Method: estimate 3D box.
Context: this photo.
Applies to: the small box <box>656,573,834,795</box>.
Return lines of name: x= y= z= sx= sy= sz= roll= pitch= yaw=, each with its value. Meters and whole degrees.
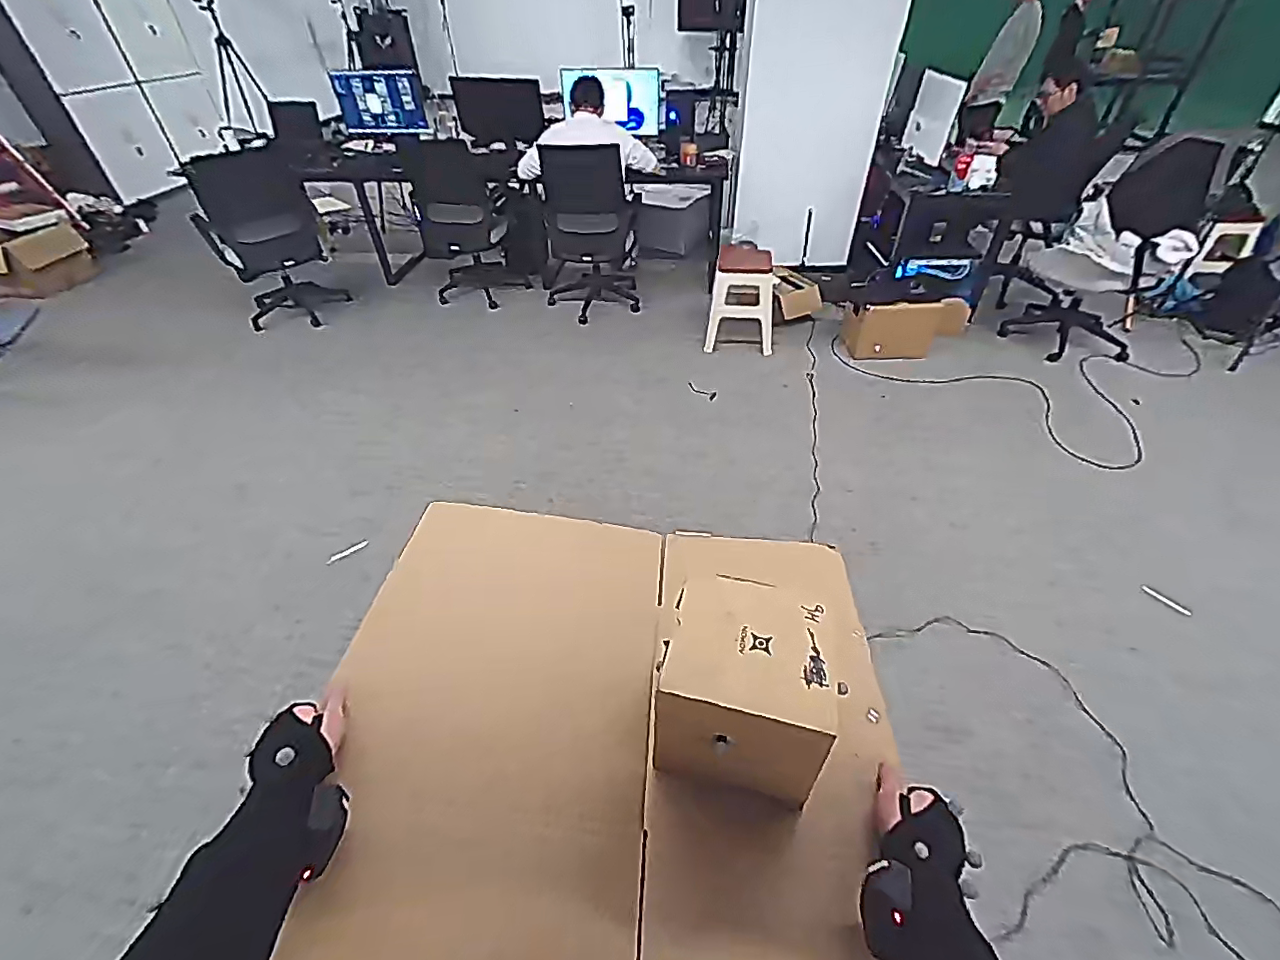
small box: x=0.122 y=0.237 z=0.635 sx=0.179 sy=0.176 sz=0.168 roll=9 pitch=40 yaw=12
